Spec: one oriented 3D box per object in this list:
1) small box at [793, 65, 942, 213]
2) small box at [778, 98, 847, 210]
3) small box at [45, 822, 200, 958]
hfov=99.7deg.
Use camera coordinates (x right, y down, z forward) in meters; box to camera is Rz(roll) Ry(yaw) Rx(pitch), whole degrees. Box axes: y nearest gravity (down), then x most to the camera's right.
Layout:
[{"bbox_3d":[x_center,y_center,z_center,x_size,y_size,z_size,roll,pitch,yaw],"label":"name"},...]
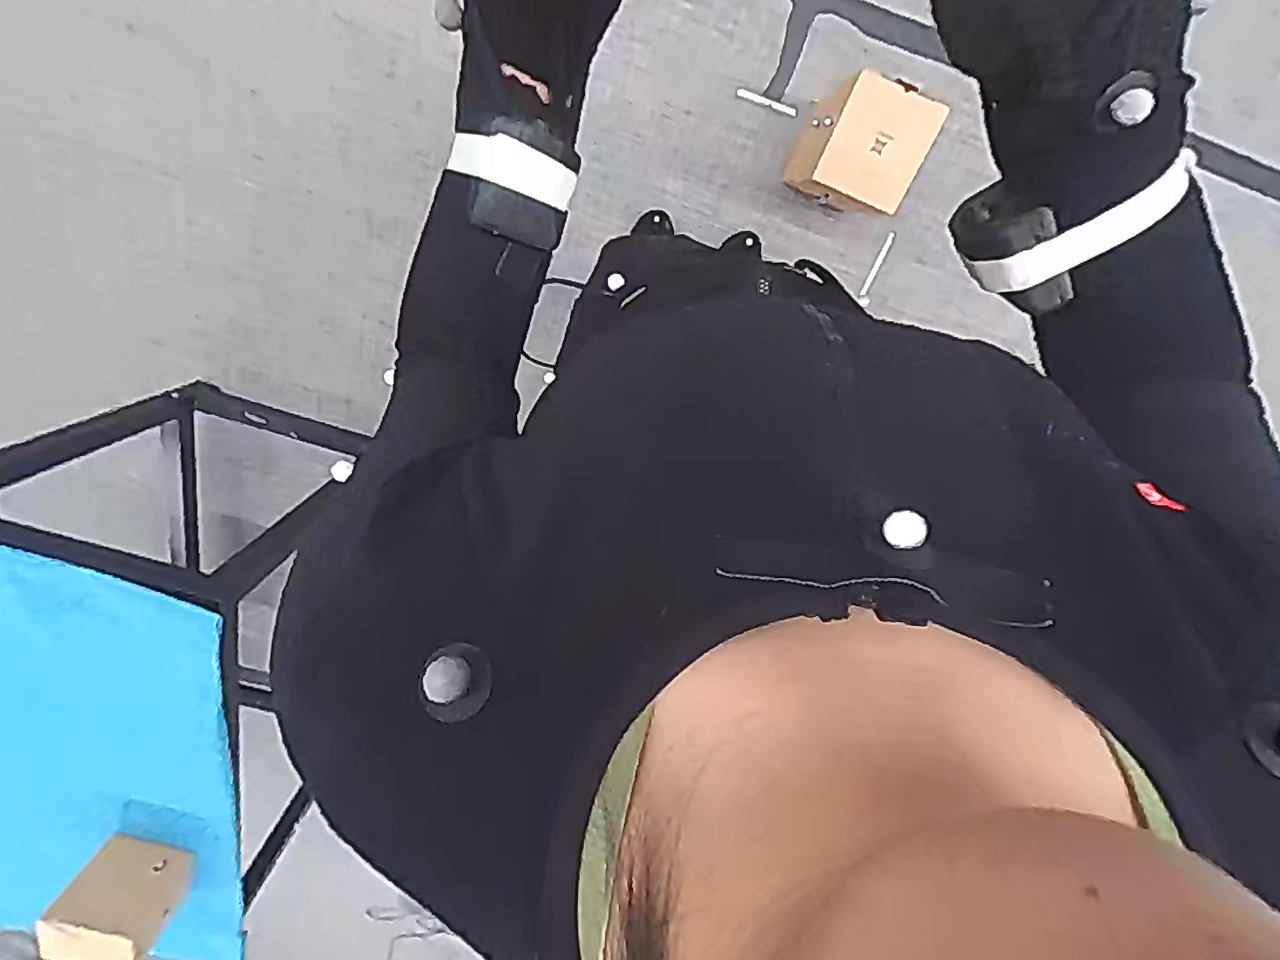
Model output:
[{"bbox_3d":[0.406,-0.619,1.004,0.168,0.176,0.179,21,116,-7],"label":"small box"},{"bbox_3d":[0.421,-0.692,1.149,0.179,0.176,0.168,20,115,-10],"label":"small box"},{"bbox_3d":[-1.103,0.887,1.166,0.179,0.176,0.168,21,115,-9],"label":"small box"}]
